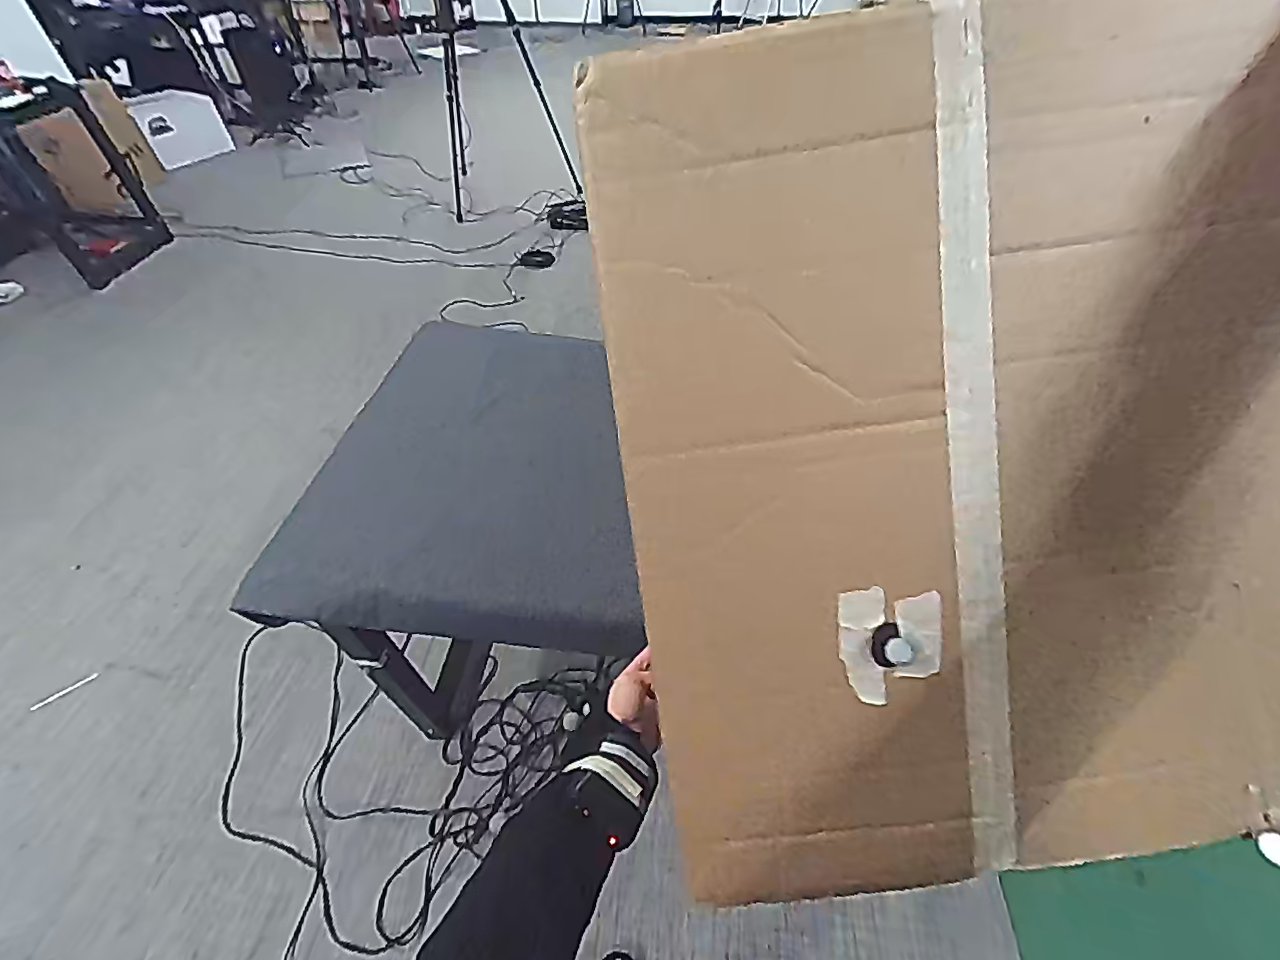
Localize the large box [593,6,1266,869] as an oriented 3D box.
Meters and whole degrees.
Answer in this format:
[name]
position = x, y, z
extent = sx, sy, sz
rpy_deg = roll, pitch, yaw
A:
[large box]
position = 0.155, -0.023, 0.419
extent = 0.320, 0.408, 0.320
rpy_deg = -9, 10, 0
